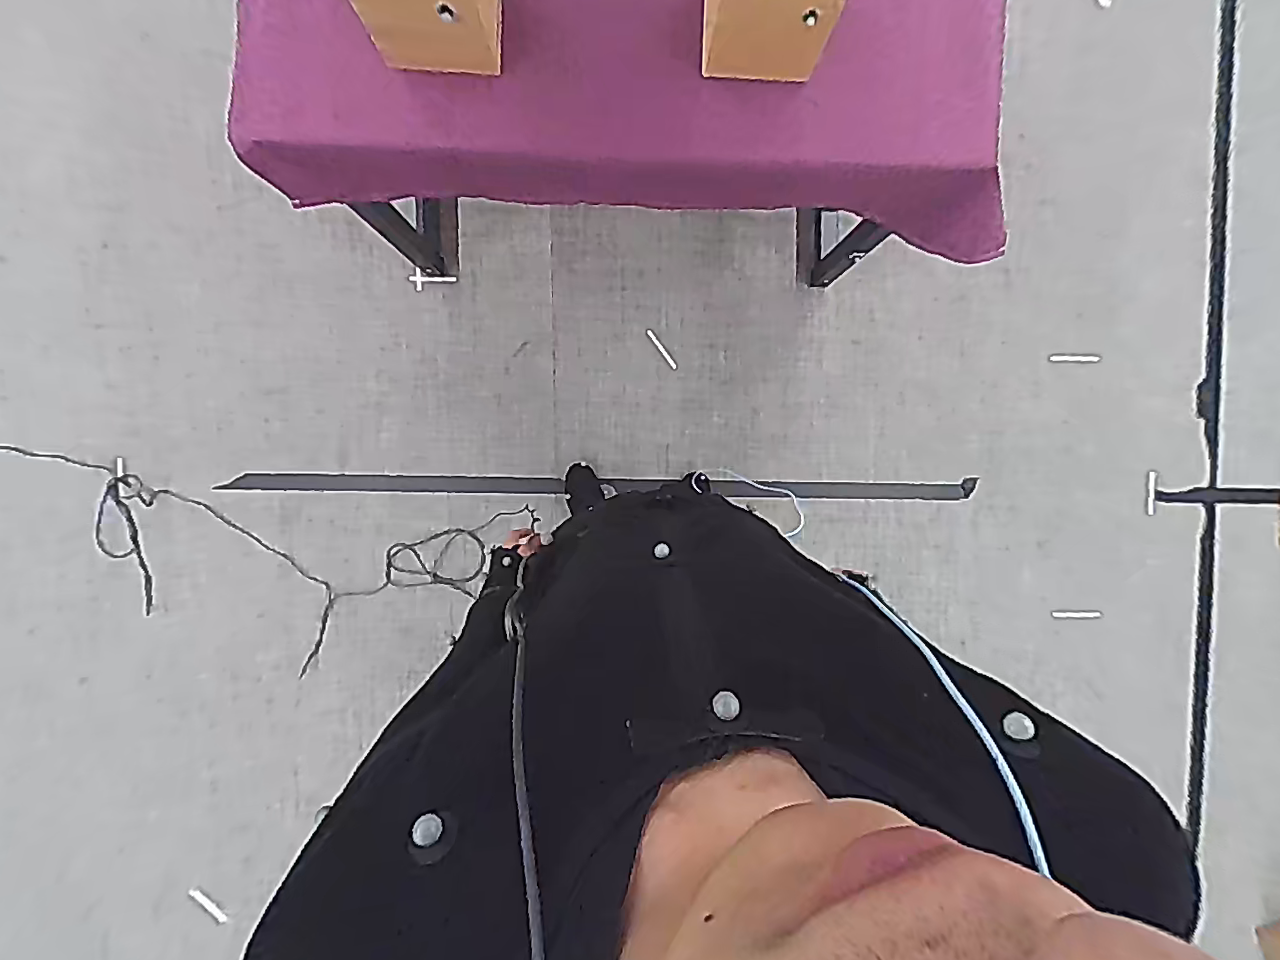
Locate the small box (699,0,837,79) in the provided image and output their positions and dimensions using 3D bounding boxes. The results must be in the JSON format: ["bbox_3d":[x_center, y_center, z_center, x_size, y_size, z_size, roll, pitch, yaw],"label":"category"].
[{"bbox_3d":[0.183,-0.724,0.785,0.179,0.176,0.168,1,93,-3],"label":"small box"}]

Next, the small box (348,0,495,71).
[{"bbox_3d":[-0.305,-0.721,0.764,0.179,0.176,0.168,2,93,-3],"label":"small box"}]
